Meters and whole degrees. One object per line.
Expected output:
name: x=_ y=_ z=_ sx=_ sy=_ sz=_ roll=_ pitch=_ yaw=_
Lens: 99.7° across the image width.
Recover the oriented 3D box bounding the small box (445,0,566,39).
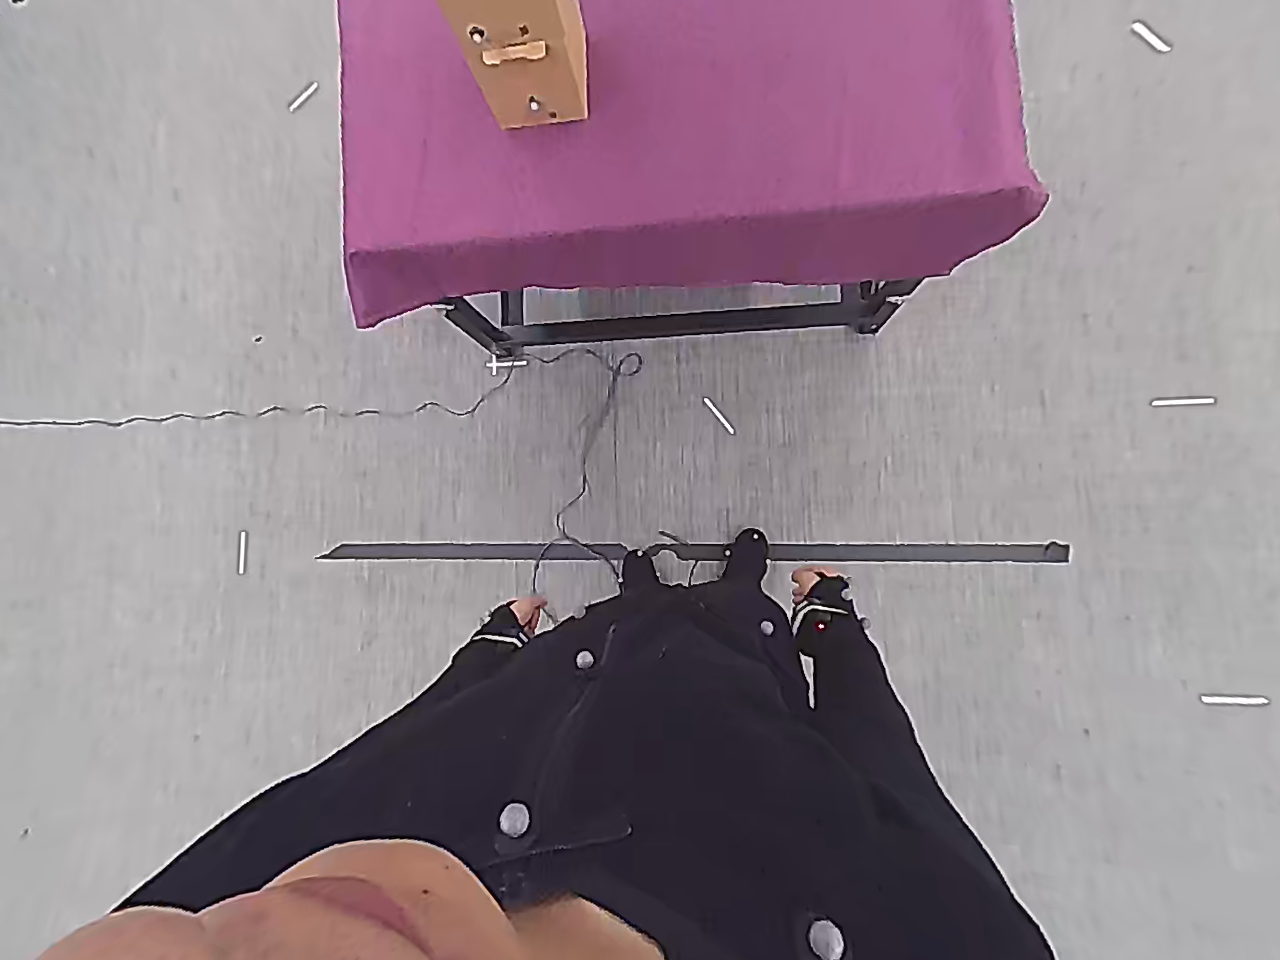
small box: x=-0.206 y=-0.768 z=0.758 sx=0.168 sy=0.176 sz=0.179 roll=-6 pitch=84 yaw=6

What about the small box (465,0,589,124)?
small box: x=-0.184 y=-0.754 z=0.921 sx=0.168 sy=0.176 sz=0.179 roll=-2 pitch=85 yaw=7
